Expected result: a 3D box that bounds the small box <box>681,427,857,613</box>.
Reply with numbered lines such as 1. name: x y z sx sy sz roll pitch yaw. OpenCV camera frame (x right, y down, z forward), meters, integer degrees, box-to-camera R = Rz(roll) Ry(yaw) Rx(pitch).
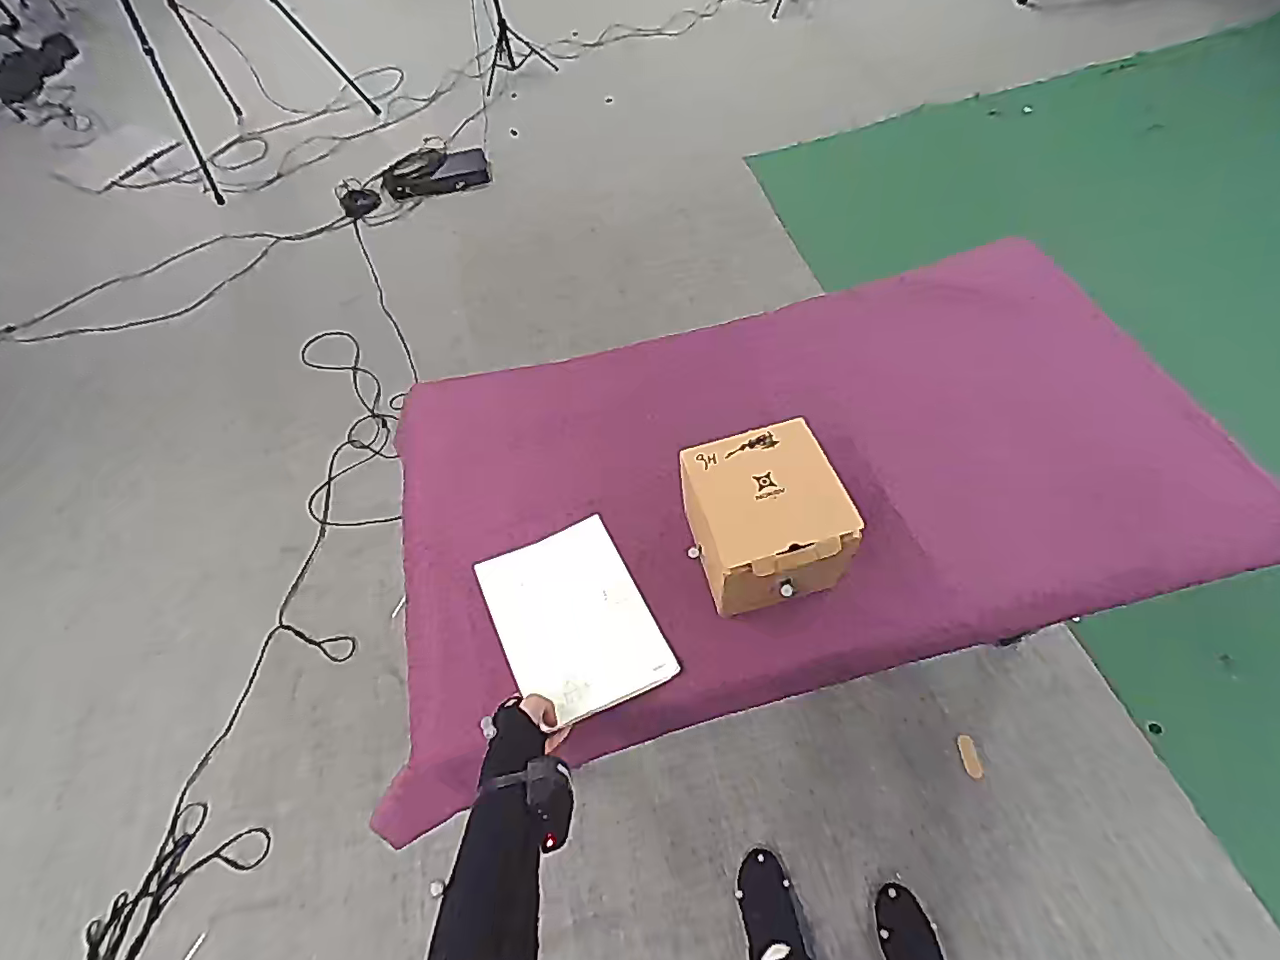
1. small box: 0.158 0.063 0.715 0.168 0.176 0.179 -15 59 -2
